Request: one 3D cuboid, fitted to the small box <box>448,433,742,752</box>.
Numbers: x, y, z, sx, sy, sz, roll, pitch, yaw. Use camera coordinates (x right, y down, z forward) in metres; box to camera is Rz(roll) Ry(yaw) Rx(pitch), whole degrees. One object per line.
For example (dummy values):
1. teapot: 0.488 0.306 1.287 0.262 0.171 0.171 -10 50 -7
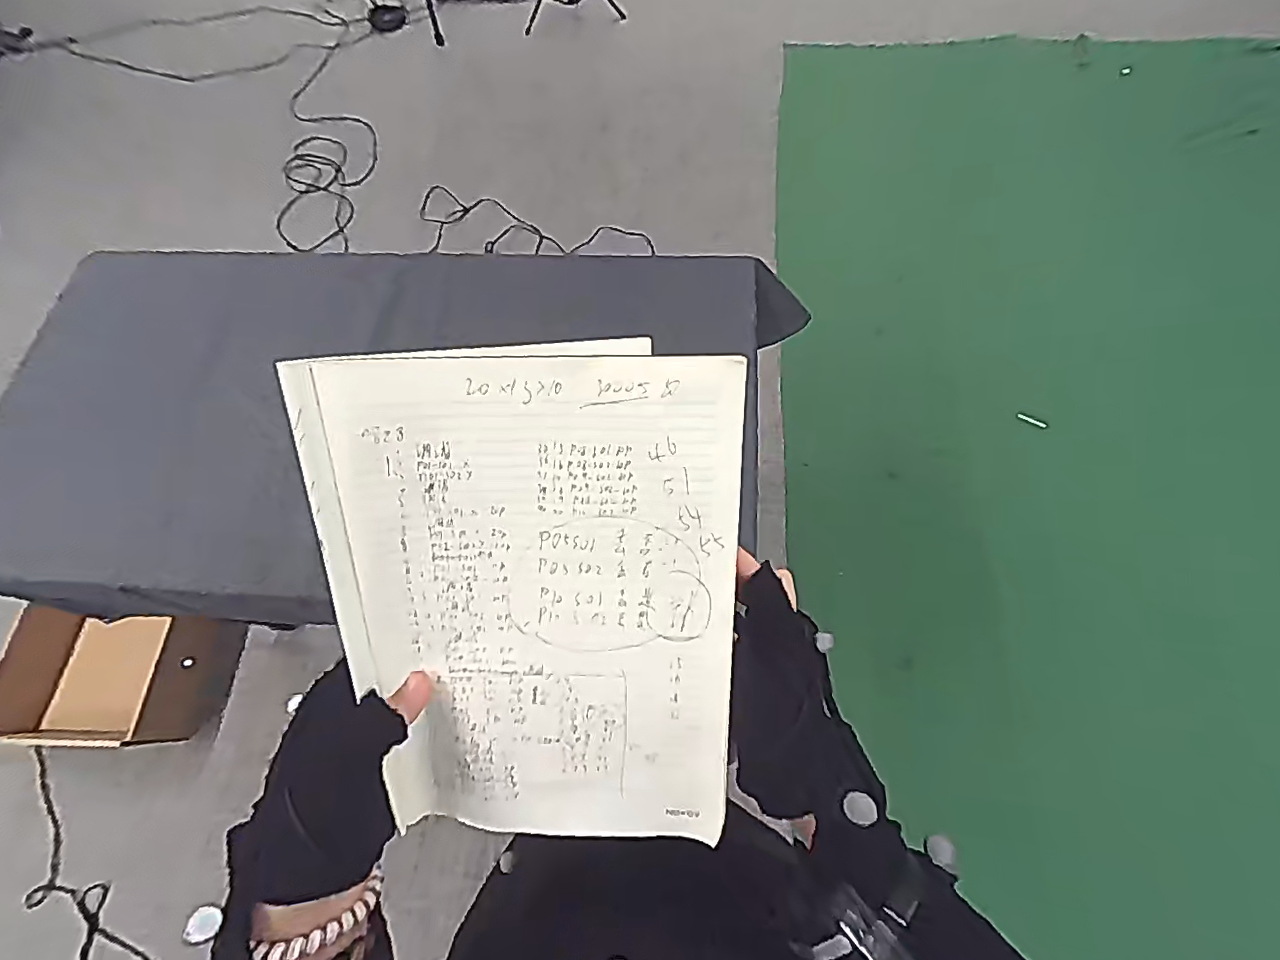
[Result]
1. small box: -0.029 0.078 0.408 0.168 0.176 0.179 -9 80 1
